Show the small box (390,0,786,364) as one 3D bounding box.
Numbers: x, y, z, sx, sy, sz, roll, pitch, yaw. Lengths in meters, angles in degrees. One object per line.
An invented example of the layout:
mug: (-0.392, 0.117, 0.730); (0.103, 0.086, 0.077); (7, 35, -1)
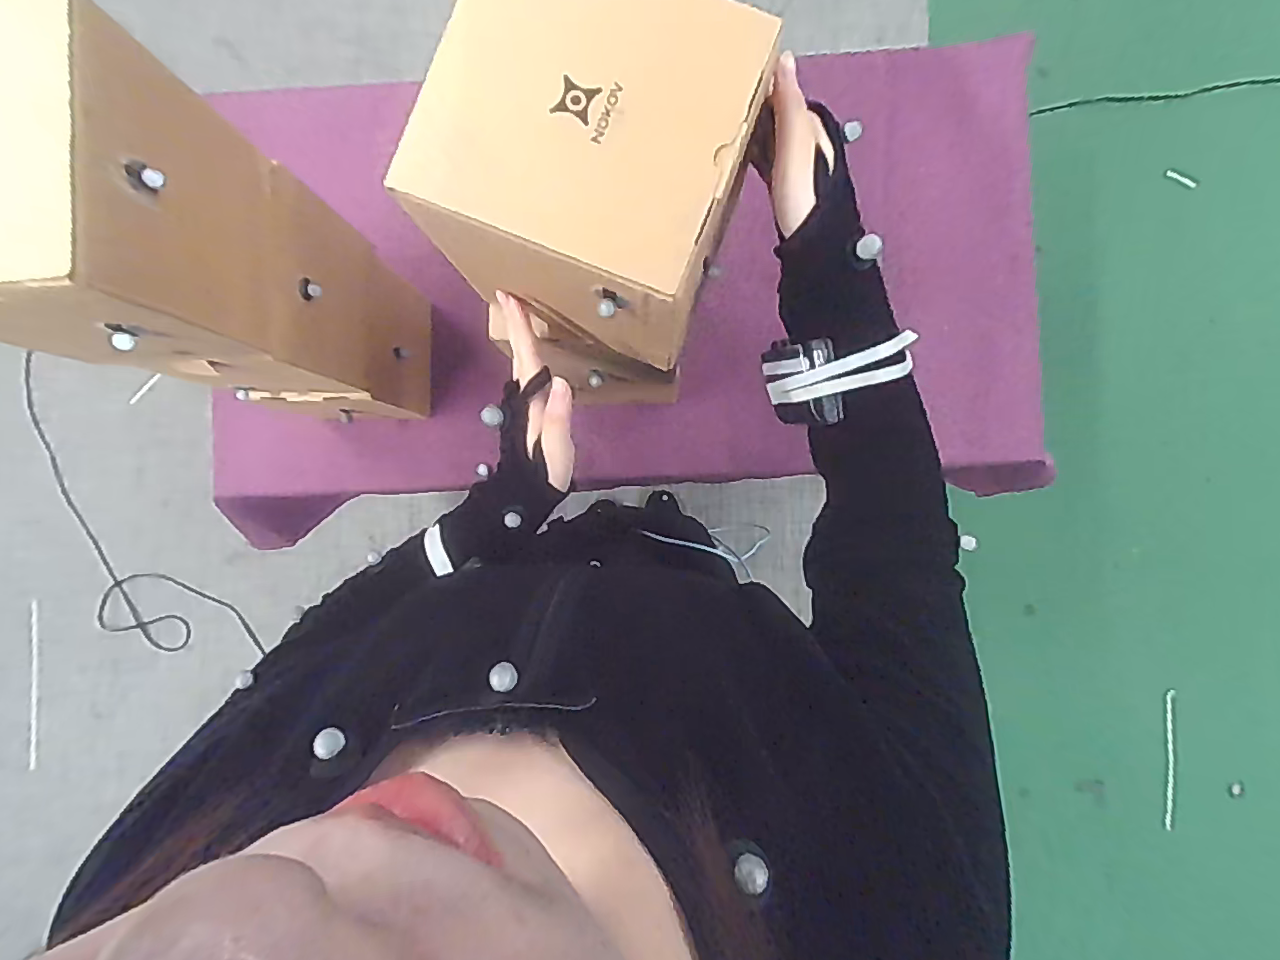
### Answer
small box: (-0.029, -0.199, 0.380); (0.179, 0.176, 0.168); (23, 89, 0)

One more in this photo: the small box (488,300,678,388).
small box: (-0.044, -0.199, 0.543); (0.168, 0.176, 0.179); (2, 89, 1)

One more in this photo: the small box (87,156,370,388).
small box: (-0.395, -0.193, 0.546); (0.168, 0.176, 0.179); (2, 88, 0)

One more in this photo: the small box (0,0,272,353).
small box: (-0.395, -0.192, 0.383); (0.168, 0.176, 0.179); (0, 89, -1)

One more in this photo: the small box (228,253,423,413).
small box: (-0.398, -0.184, 0.710); (0.168, 0.176, 0.179); (1, 90, -1)
